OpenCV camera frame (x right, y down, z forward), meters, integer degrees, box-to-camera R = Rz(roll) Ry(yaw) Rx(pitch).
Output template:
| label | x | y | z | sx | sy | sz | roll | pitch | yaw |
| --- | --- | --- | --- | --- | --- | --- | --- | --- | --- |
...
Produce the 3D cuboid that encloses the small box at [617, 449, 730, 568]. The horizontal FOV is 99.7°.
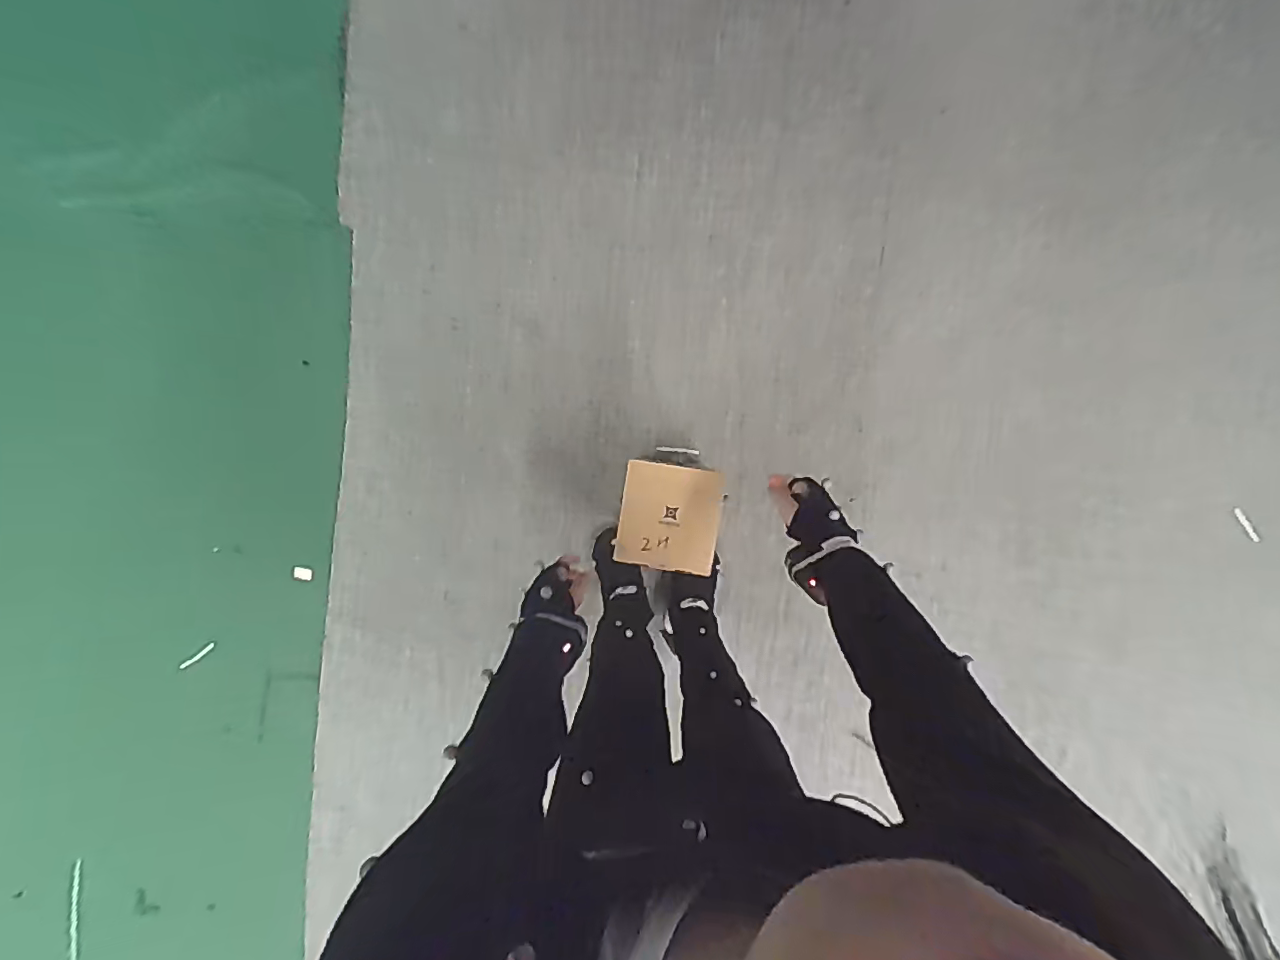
| label | x | y | z | sx | sy | sz | roll | pitch | yaw |
| --- | --- | --- | --- | --- | --- | --- | --- | --- | --- |
| small box | 0.056 | 0.043 | 0.970 | 0.168 | 0.176 | 0.179 | 10 | 94 | 2 |
